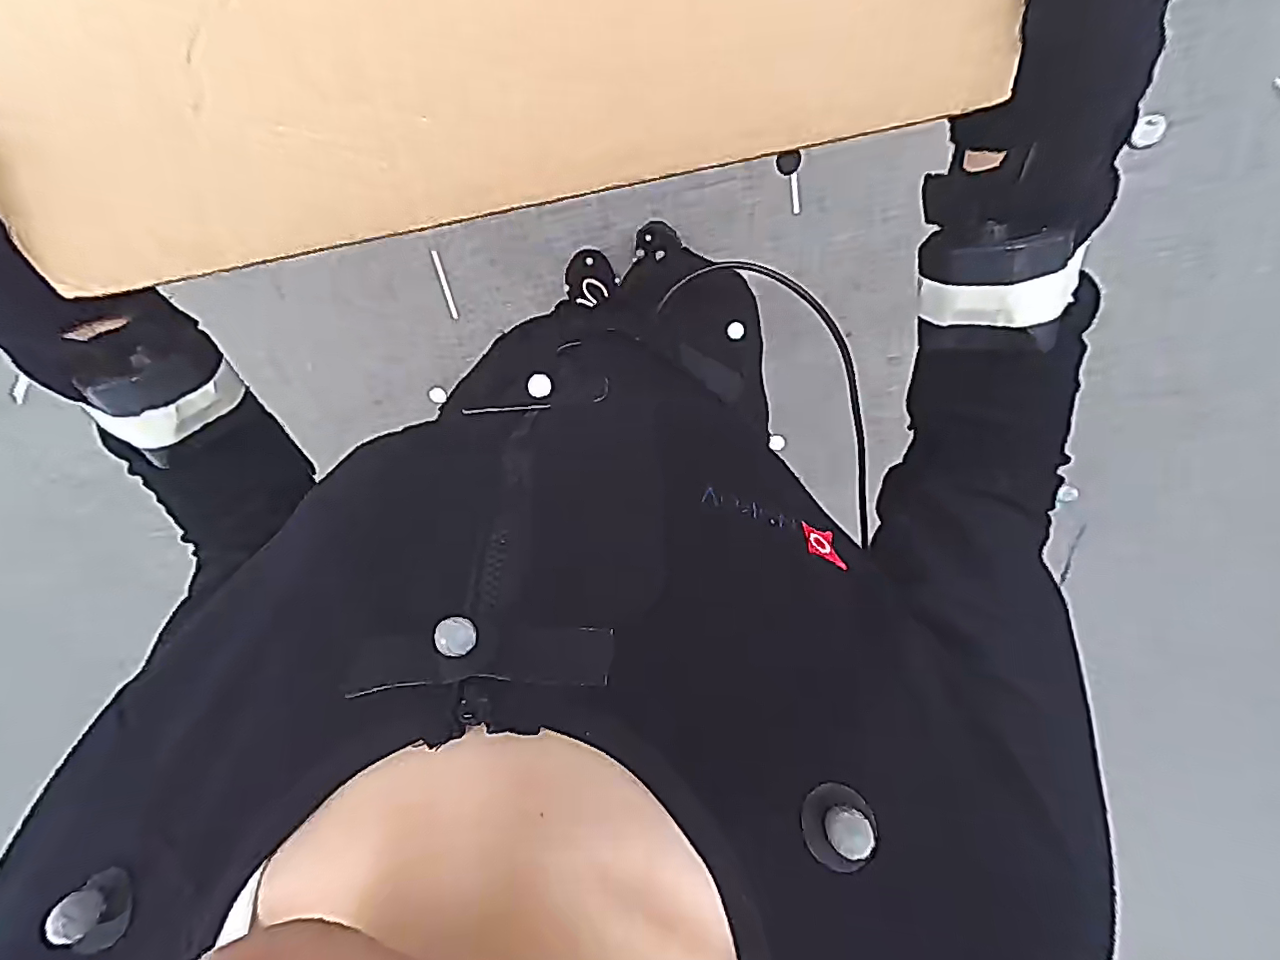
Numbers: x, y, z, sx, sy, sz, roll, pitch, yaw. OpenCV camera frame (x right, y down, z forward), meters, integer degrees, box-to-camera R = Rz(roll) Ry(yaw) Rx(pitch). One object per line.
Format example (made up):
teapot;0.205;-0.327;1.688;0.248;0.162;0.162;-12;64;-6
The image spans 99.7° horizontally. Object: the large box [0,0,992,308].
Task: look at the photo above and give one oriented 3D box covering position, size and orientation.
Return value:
large box;-0.089;-0.323;0.272;0.408;0.320;0.320;-10;124;5
